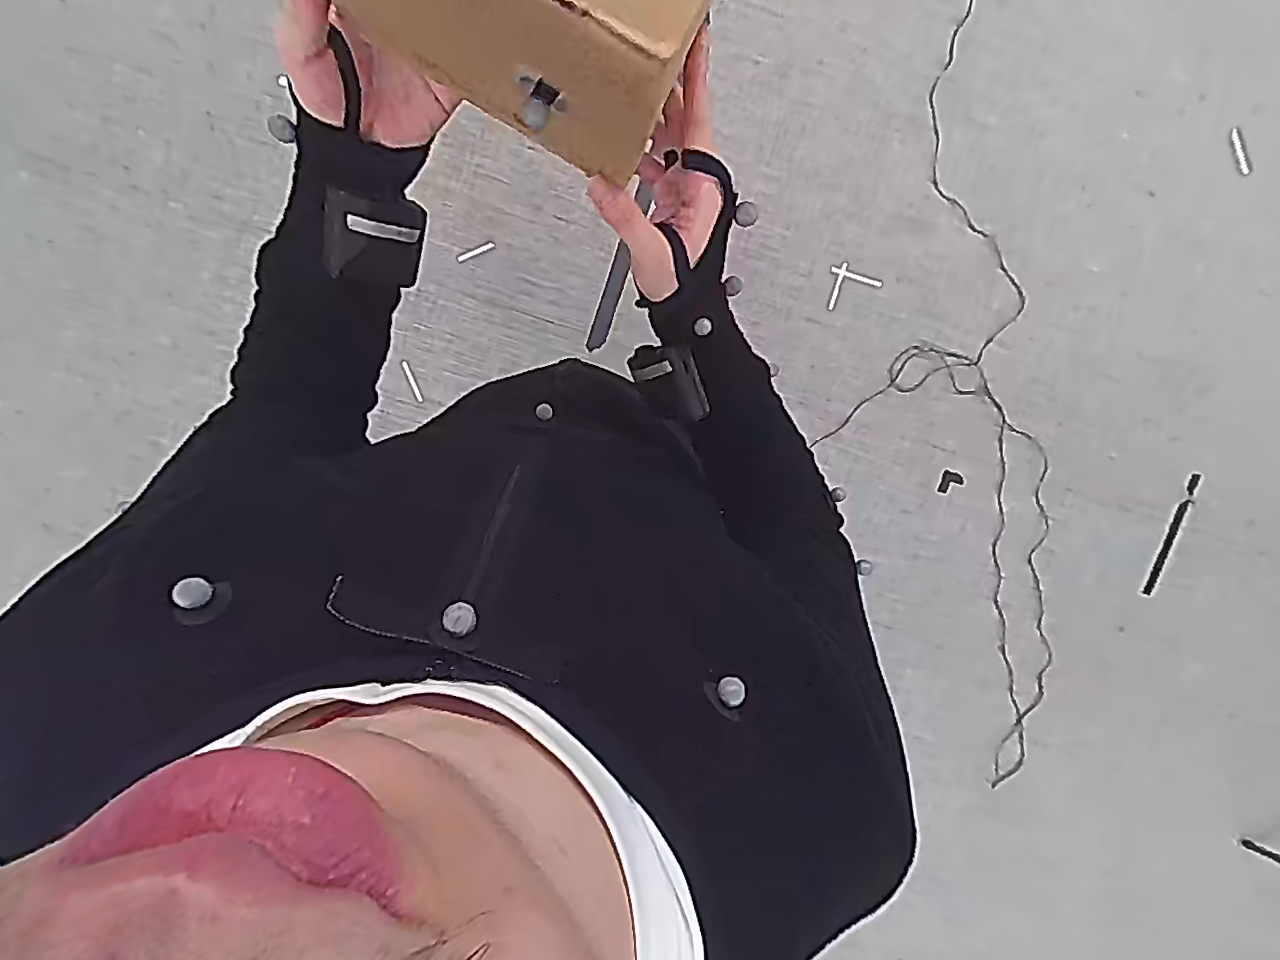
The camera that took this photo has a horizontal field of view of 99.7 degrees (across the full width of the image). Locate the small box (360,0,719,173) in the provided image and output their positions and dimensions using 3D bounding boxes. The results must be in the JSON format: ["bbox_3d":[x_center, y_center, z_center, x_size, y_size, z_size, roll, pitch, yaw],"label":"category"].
[{"bbox_3d":[-0.031,-0.266,0.224,0.168,0.176,0.179,23,101,-14],"label":"small box"}]
